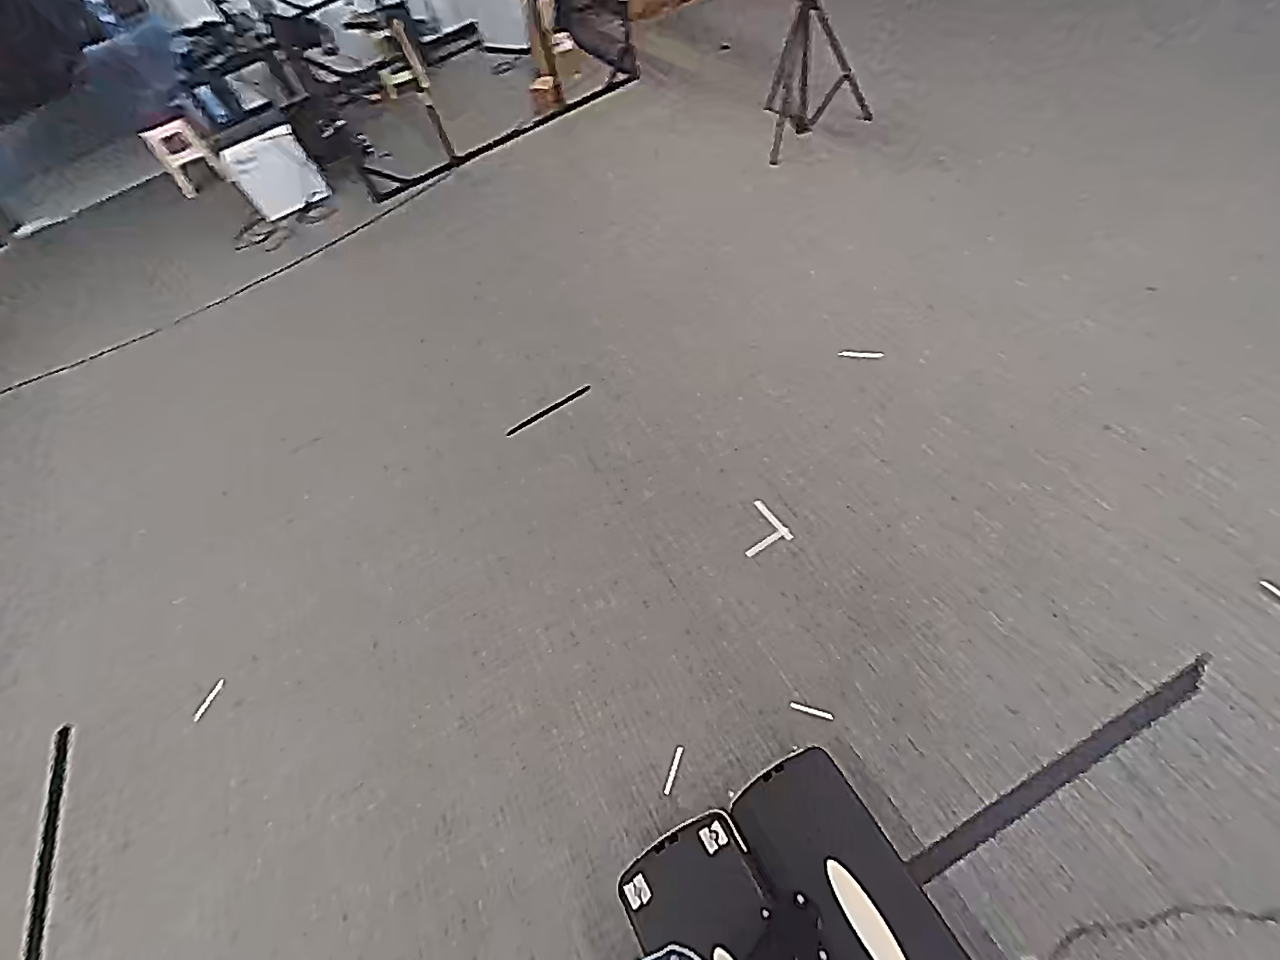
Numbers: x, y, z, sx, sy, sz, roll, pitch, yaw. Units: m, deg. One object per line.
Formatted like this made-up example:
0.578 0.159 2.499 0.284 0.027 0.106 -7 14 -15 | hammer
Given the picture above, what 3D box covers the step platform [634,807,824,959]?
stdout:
0.259 1.053 1.079 0.286 0.204 0.684 -31 55 -8 | step platform
